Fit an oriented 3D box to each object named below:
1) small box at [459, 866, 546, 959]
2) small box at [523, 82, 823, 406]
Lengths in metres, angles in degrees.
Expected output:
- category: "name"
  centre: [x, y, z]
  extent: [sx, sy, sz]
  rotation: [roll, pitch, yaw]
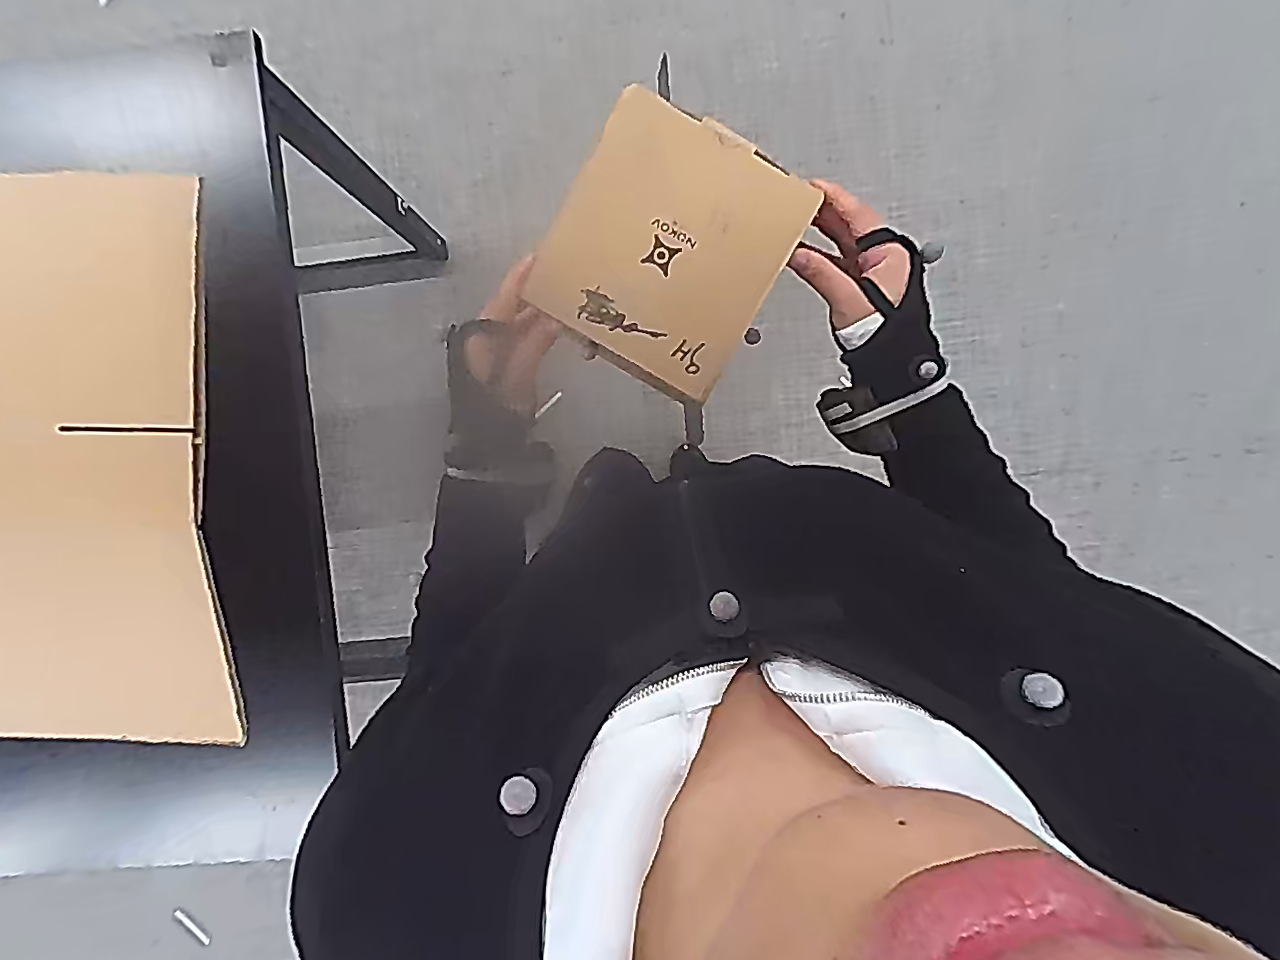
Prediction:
- category: "small box"
  centre: [-0.370, 1.204, 1.482]
  extent: [0.179, 0.176, 0.168]
  rotation: [-9, 92, 2]
- category: "small box"
  centre: [0.026, -0.183, 0.479]
  extent: [0.168, 0.176, 0.179]
  rotation: [31, 95, 2]
